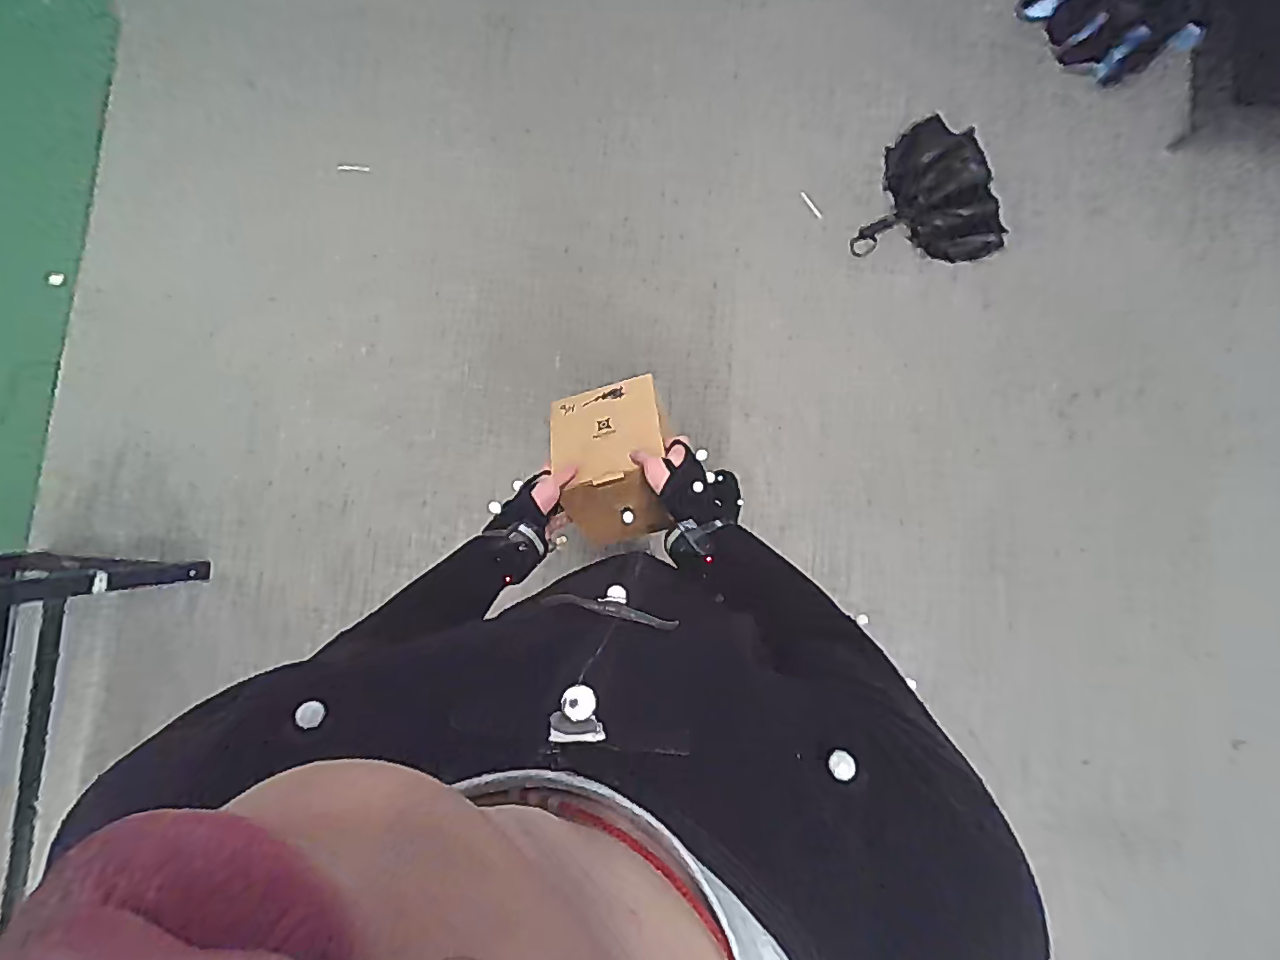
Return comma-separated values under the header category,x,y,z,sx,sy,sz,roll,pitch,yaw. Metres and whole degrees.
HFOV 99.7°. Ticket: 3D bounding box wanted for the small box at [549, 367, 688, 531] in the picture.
category,x,y,z,sx,sy,sz,roll,pitch,yaw
small box,-0.031,-0.037,0.838,0.168,0.176,0.179,-15,53,9
